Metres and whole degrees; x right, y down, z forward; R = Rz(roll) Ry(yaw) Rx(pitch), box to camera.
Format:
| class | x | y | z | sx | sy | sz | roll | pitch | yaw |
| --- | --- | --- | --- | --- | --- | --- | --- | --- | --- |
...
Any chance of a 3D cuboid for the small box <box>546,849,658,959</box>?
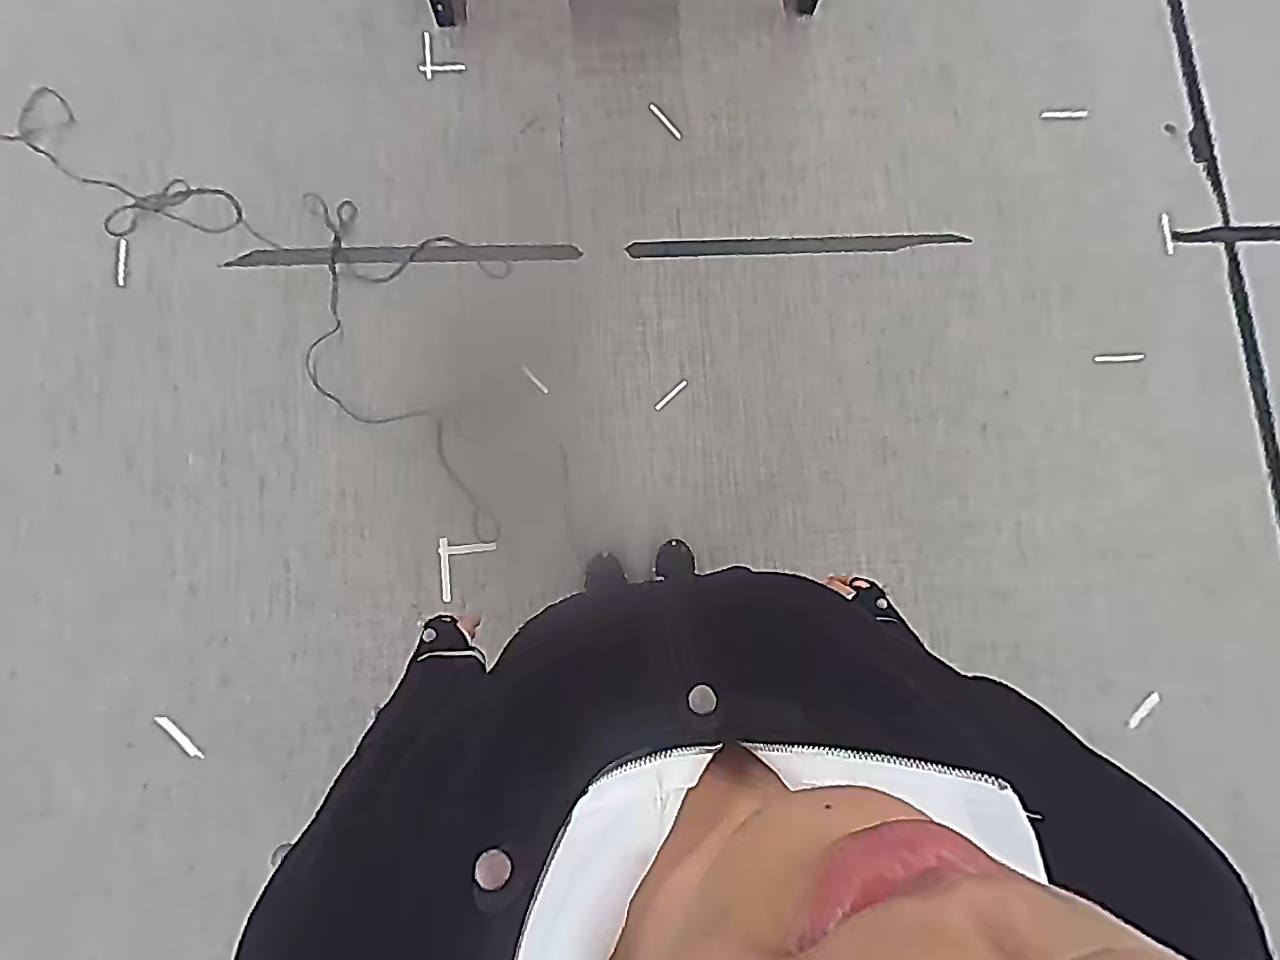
| class | x | y | z | sx | sy | sz | roll | pitch | yaw |
| --- | --- | --- | --- | --- | --- | --- | --- | --- | --- |
| small box | -0.056 | 0.745 | 0.880 | 0.168 | 0.176 | 0.179 | -5 | 81 | -3 |
